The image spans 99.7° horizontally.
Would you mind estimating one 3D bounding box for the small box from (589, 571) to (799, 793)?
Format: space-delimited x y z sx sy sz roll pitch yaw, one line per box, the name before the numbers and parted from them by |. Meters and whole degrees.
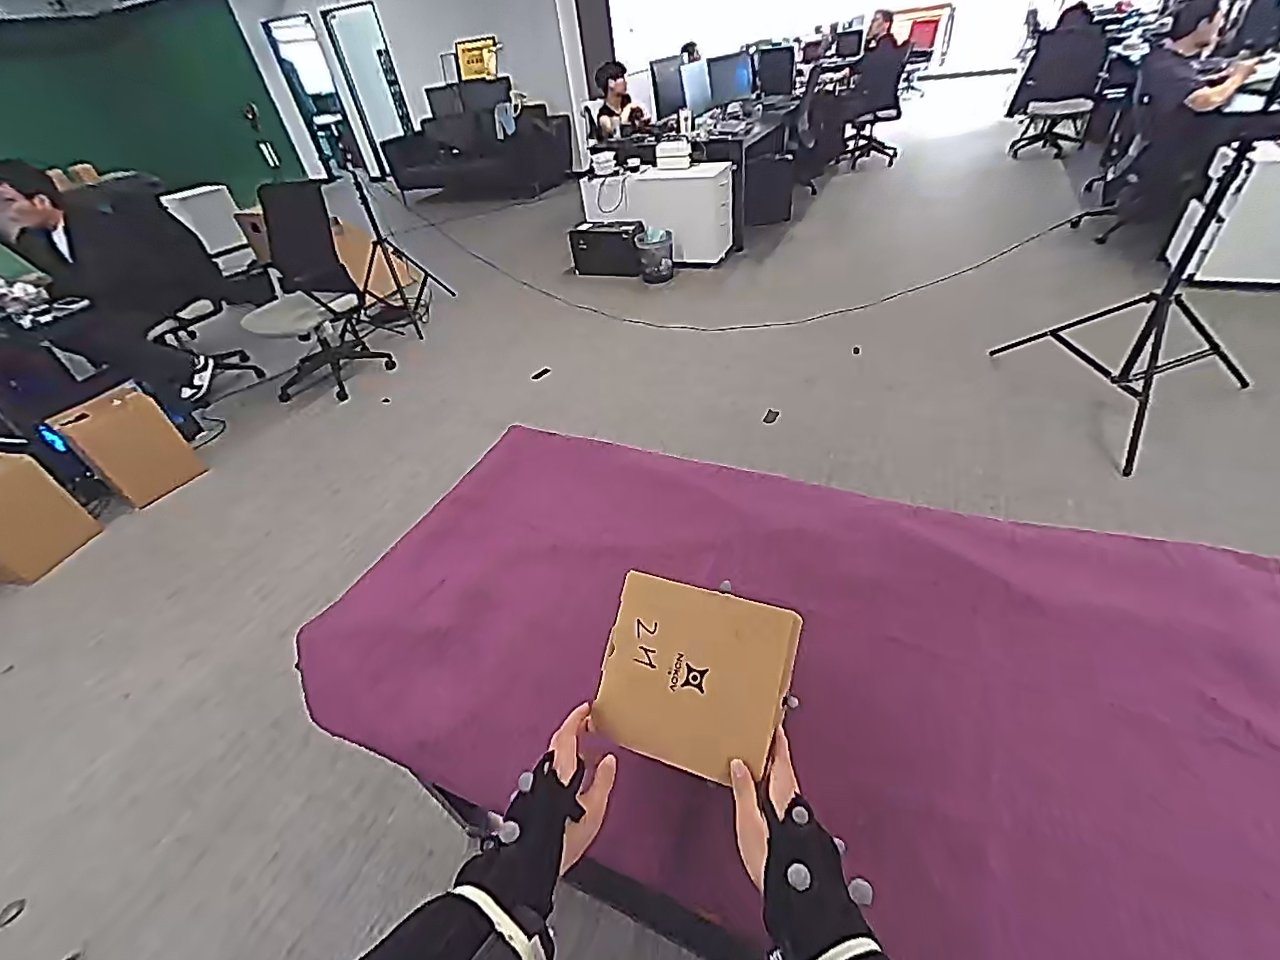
small box | 0.072 0.206 0.593 0.179 0.176 0.168 10 78 21
